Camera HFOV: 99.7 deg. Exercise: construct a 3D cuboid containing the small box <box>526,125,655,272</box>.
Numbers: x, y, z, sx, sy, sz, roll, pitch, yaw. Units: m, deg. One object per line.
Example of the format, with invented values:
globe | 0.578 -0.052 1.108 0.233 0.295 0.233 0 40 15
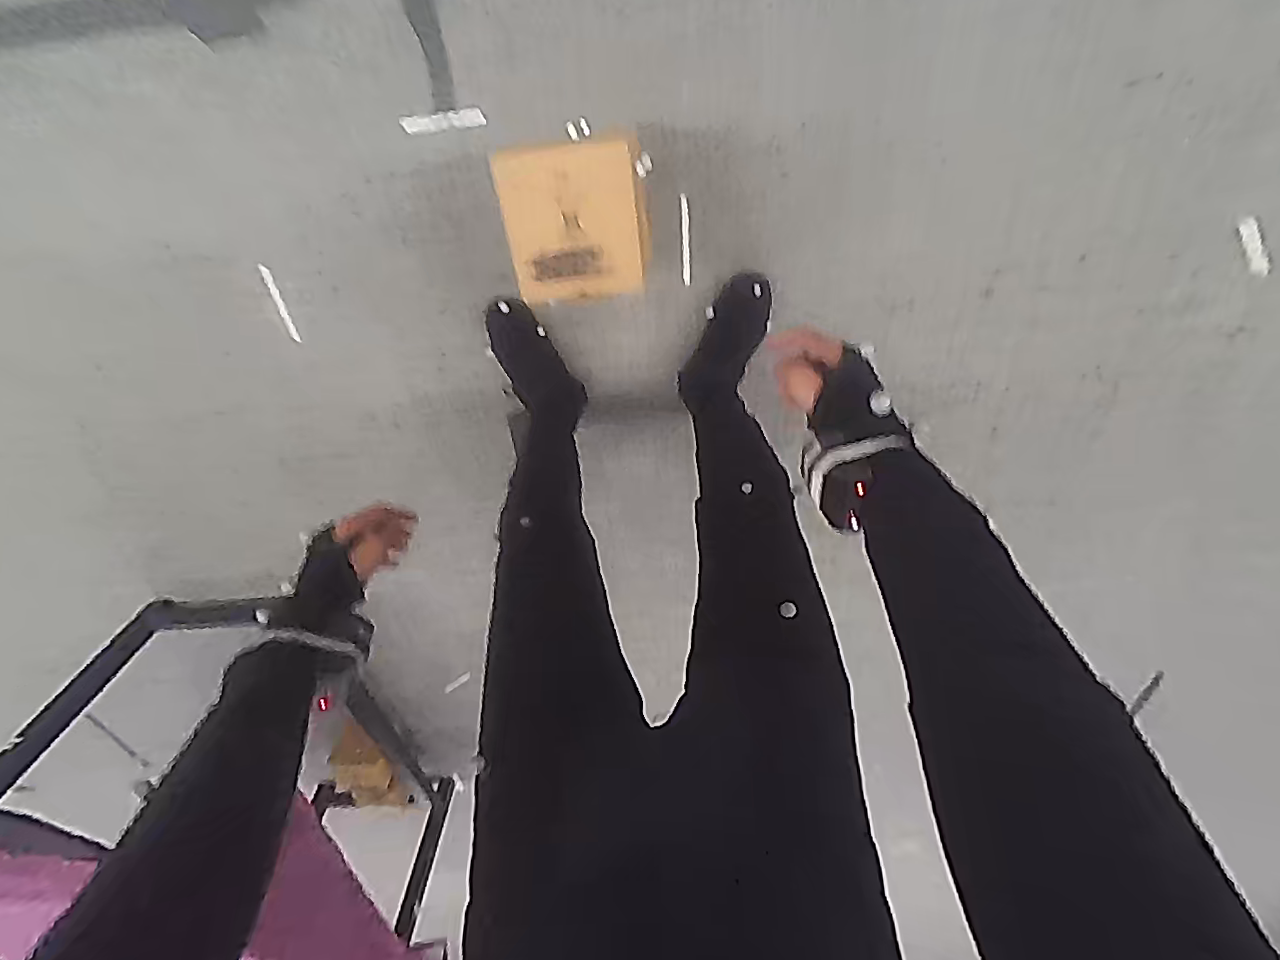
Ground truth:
small box | -0.069 -0.453 0.863 0.168 0.176 0.179 -6 127 6
